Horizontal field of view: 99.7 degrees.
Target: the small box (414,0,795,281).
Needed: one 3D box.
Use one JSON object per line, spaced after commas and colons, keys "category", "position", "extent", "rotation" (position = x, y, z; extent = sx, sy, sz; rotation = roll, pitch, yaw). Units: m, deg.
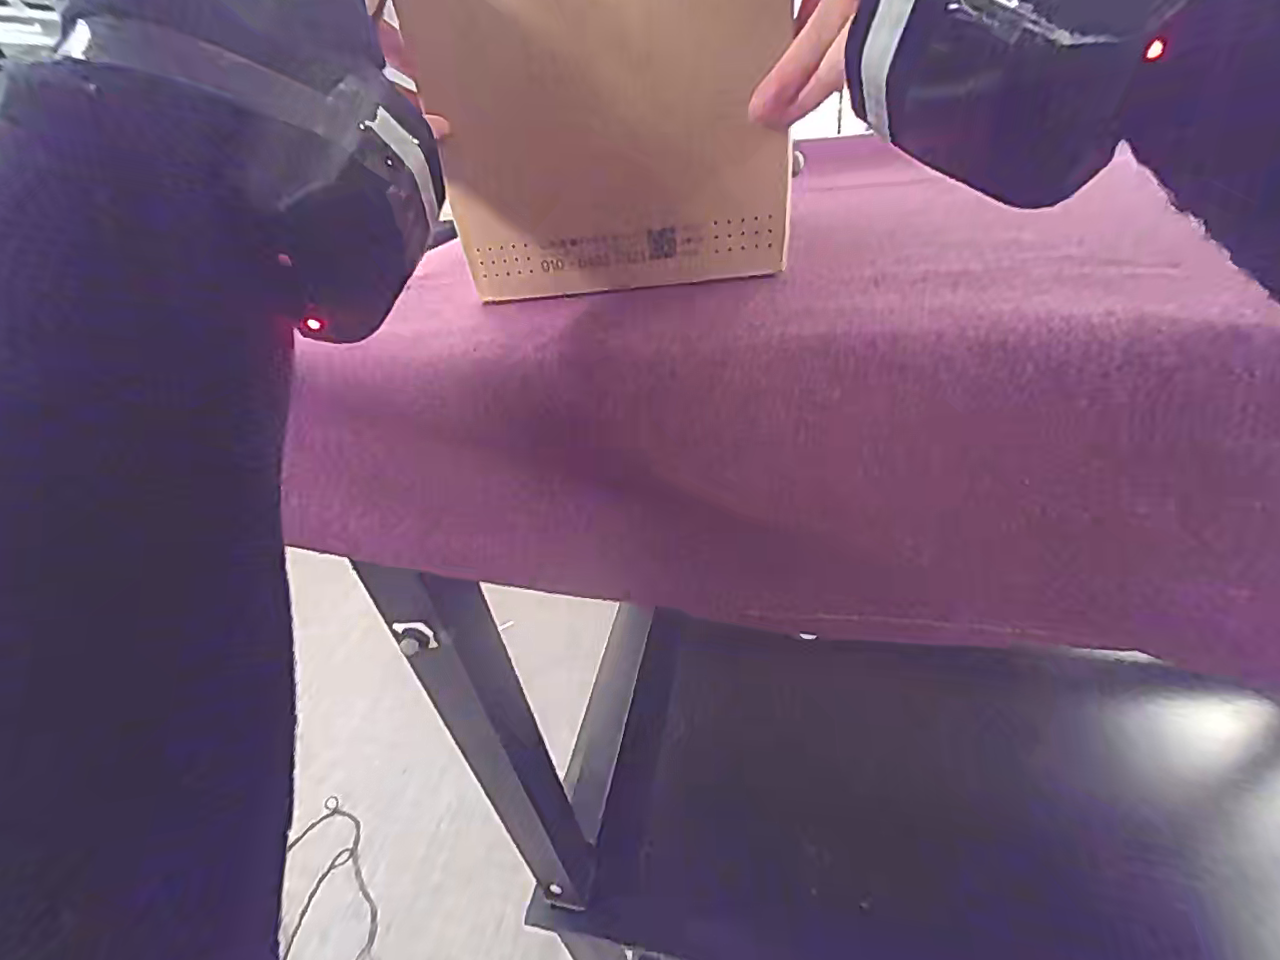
{"category": "small box", "position": [-0.008, -0.219, 0.303], "extent": [0.168, 0.176, 0.179], "rotation": [-3, 34, 9]}
